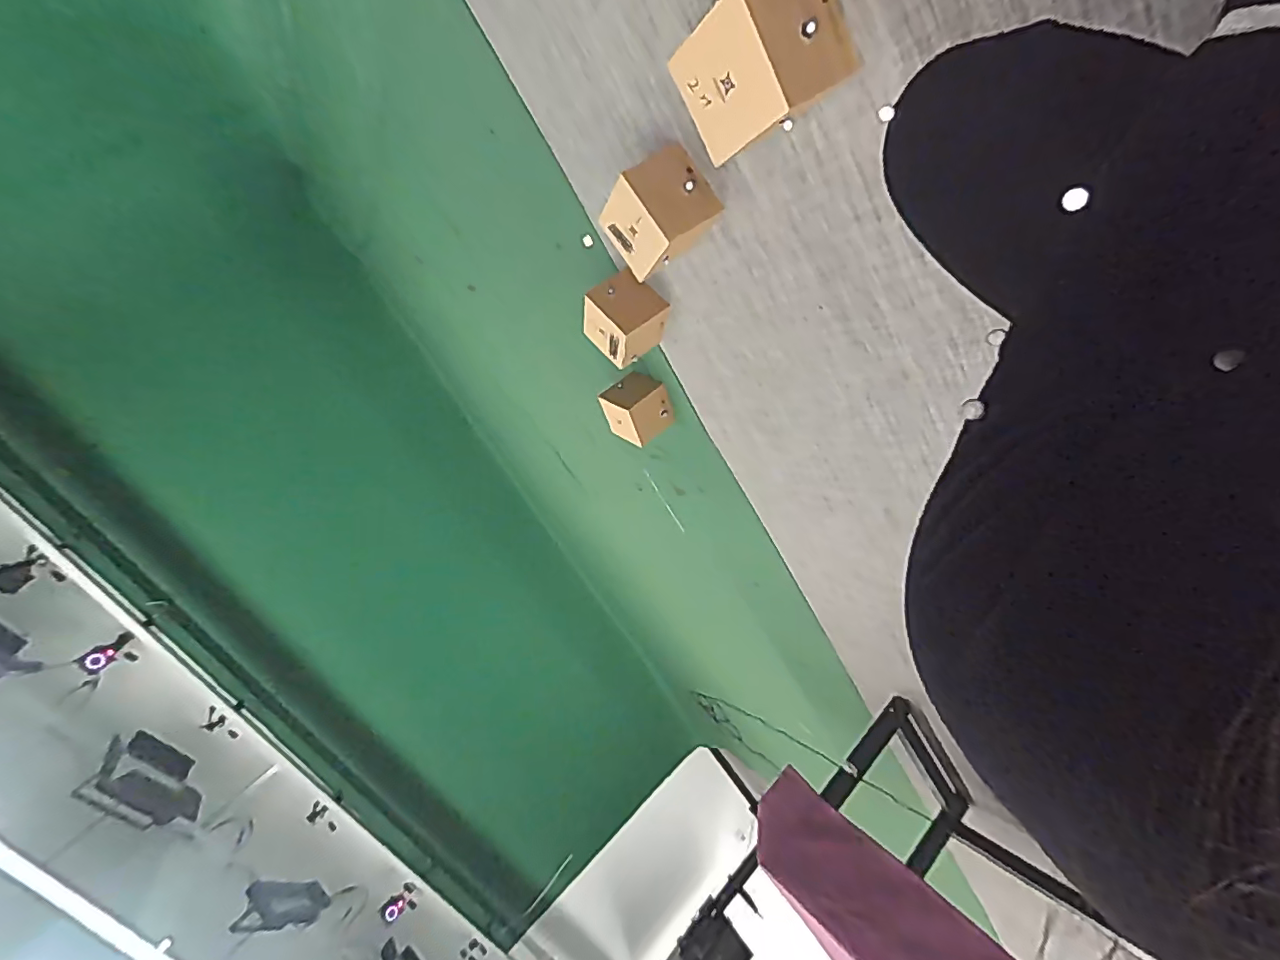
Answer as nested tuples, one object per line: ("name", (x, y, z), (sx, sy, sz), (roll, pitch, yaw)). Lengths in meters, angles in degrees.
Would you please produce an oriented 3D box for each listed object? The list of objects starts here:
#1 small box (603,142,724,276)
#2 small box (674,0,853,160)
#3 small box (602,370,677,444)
("small box", (0.051, -0.588, 1.182), (0.168, 0.176, 0.179), (53, 159, -7))
("small box", (0.190, -0.630, 0.811), (0.168, 0.176, 0.179), (58, 159, -18))
("small box", (0.002, -0.259, 1.873), (0.179, 0.176, 0.168), (31, 153, 43))
